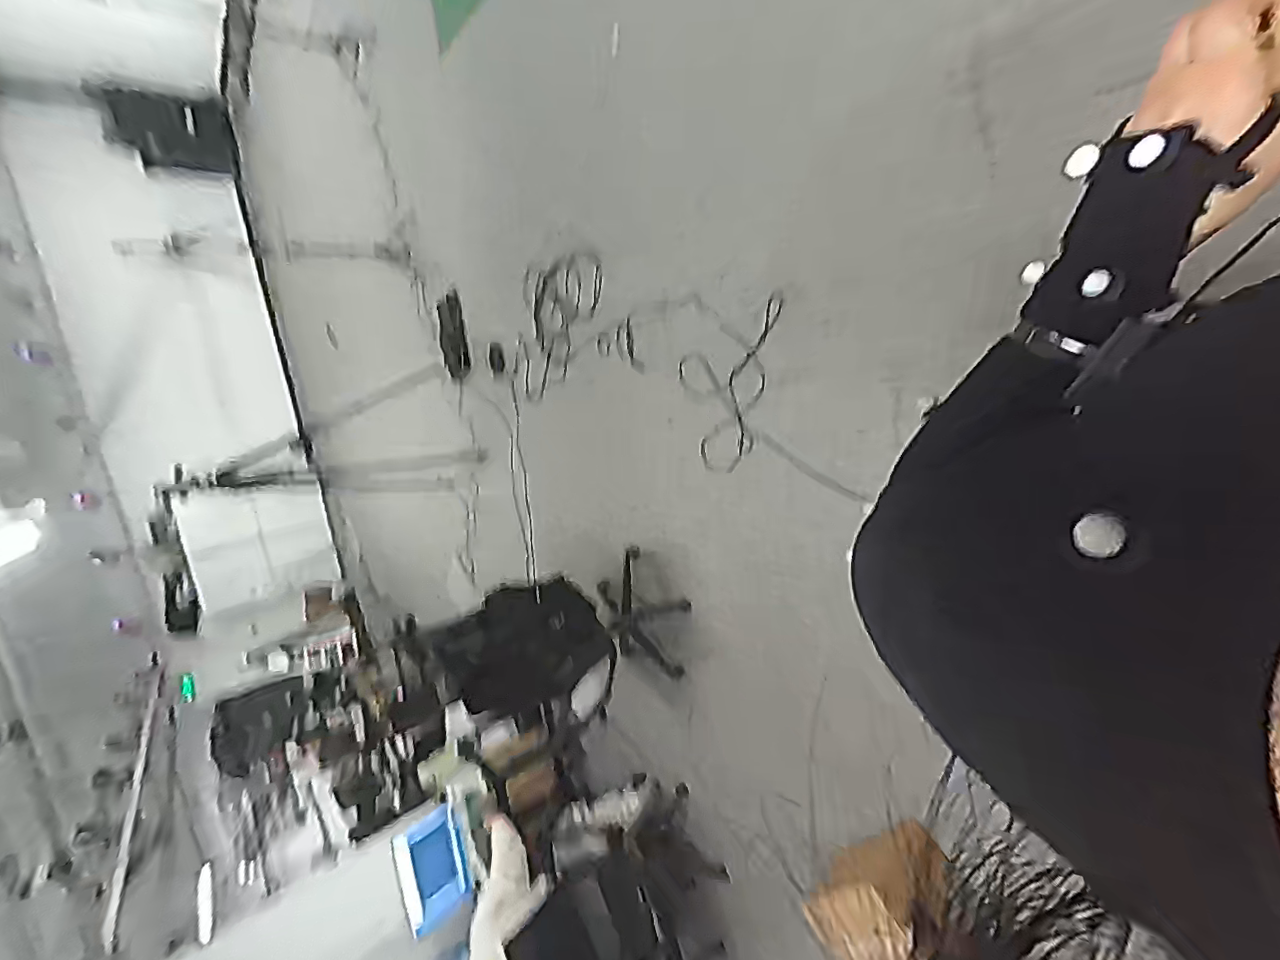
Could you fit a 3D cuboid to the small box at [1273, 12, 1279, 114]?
[{"bbox_3d":[0.458,-0.298,0.273,0.168,0.176,0.179,4,99,51],"label":"small box"}]
